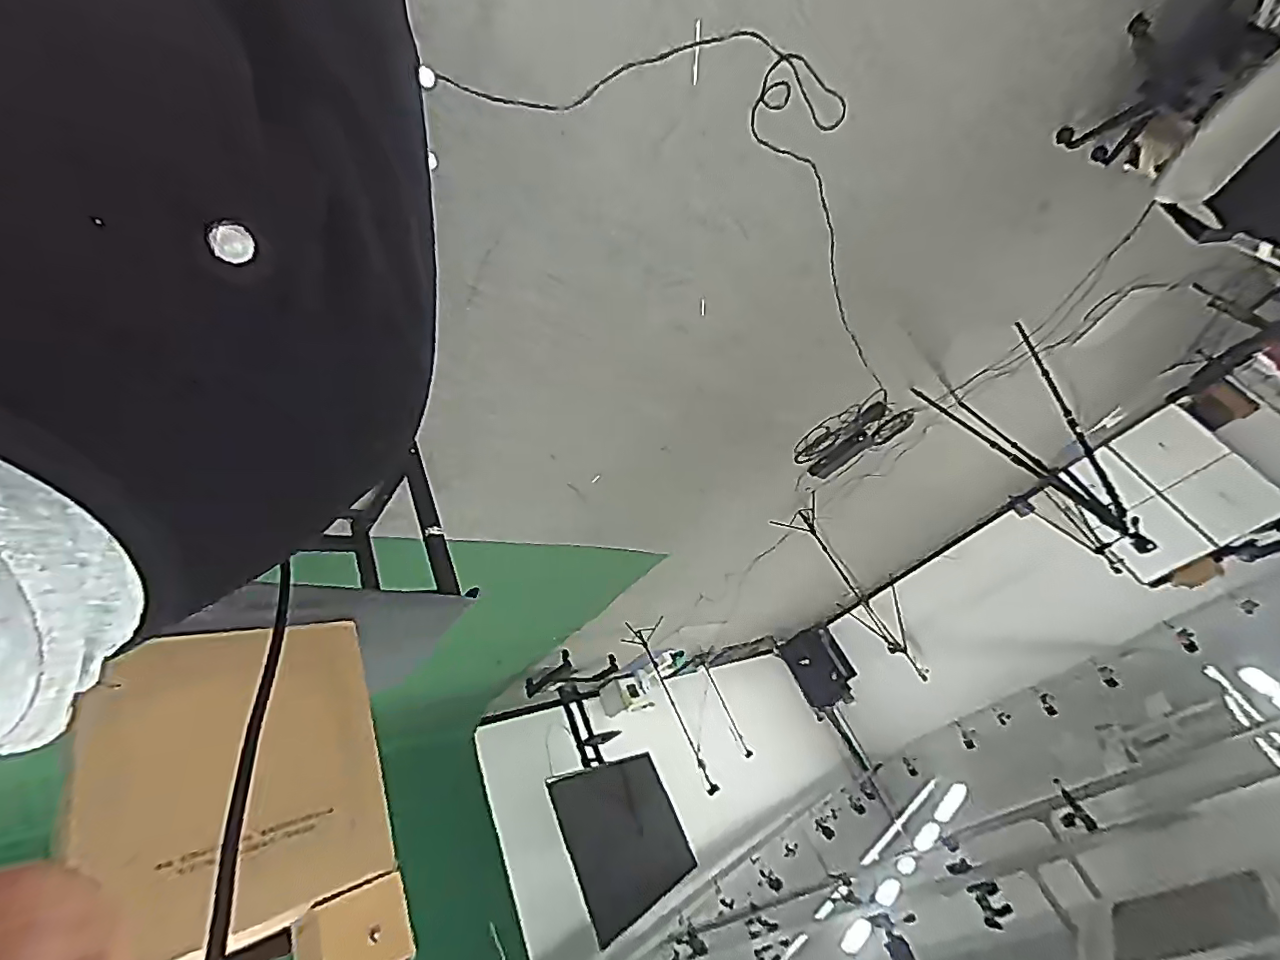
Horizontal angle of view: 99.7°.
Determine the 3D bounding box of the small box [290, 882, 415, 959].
[{"bbox_3d":[-0.618,1.007,1.157,0.179,0.176,0.168,6,135,-49],"label":"small box"}]
